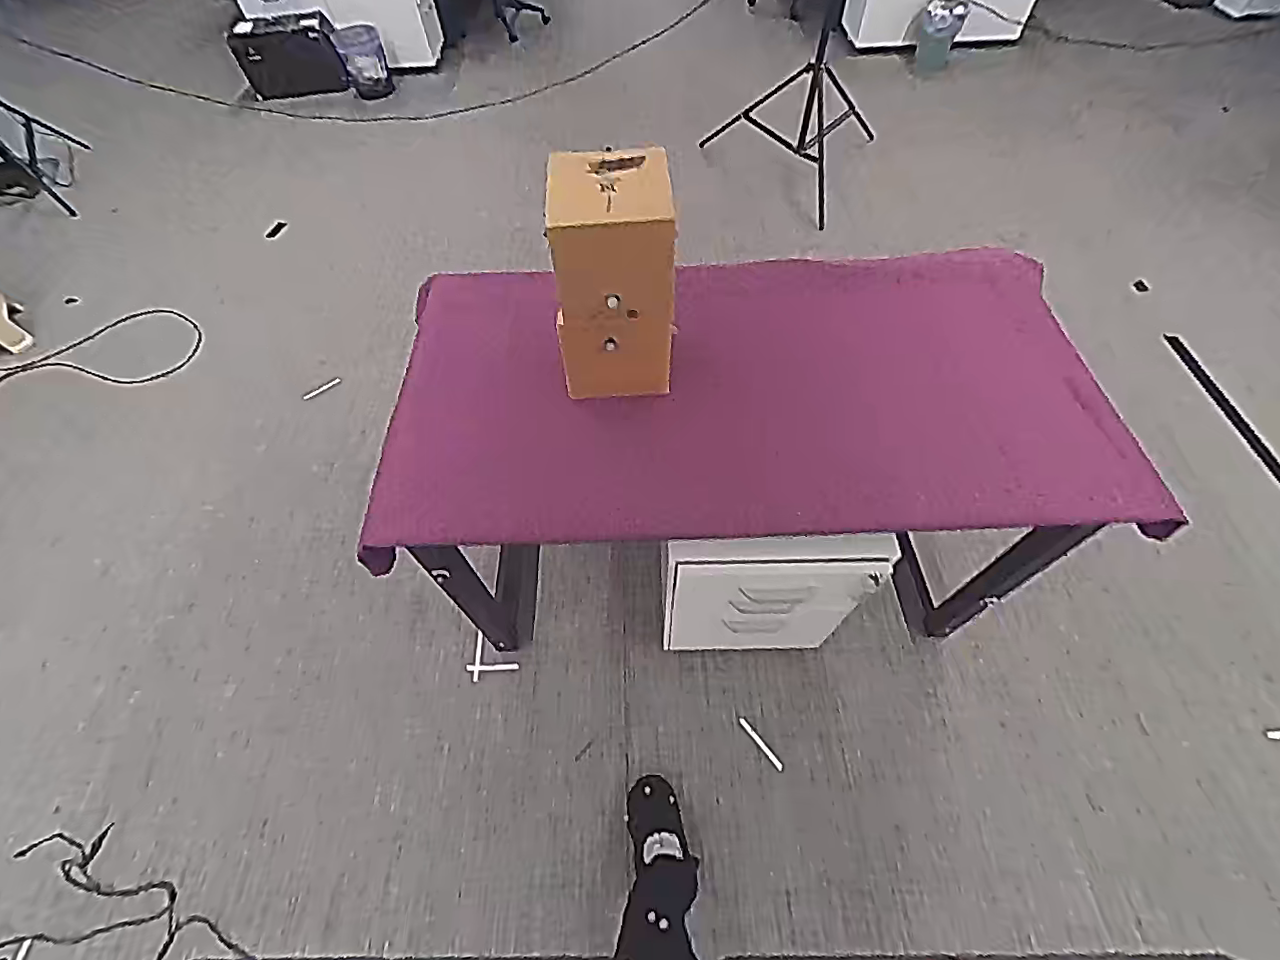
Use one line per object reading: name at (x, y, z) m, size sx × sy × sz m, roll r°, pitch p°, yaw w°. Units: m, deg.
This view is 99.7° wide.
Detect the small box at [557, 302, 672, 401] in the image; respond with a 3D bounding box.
small box at (-0.039, -0.251, 0.925) m, size 0.179 × 0.176 × 0.168 m, roll -3°, pitch 57°, yaw 1°

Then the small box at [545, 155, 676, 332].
small box at (-0.039, -0.340, 0.786) m, size 0.168 × 0.176 × 0.179 m, roll -4°, pitch 58°, yaw 0°
